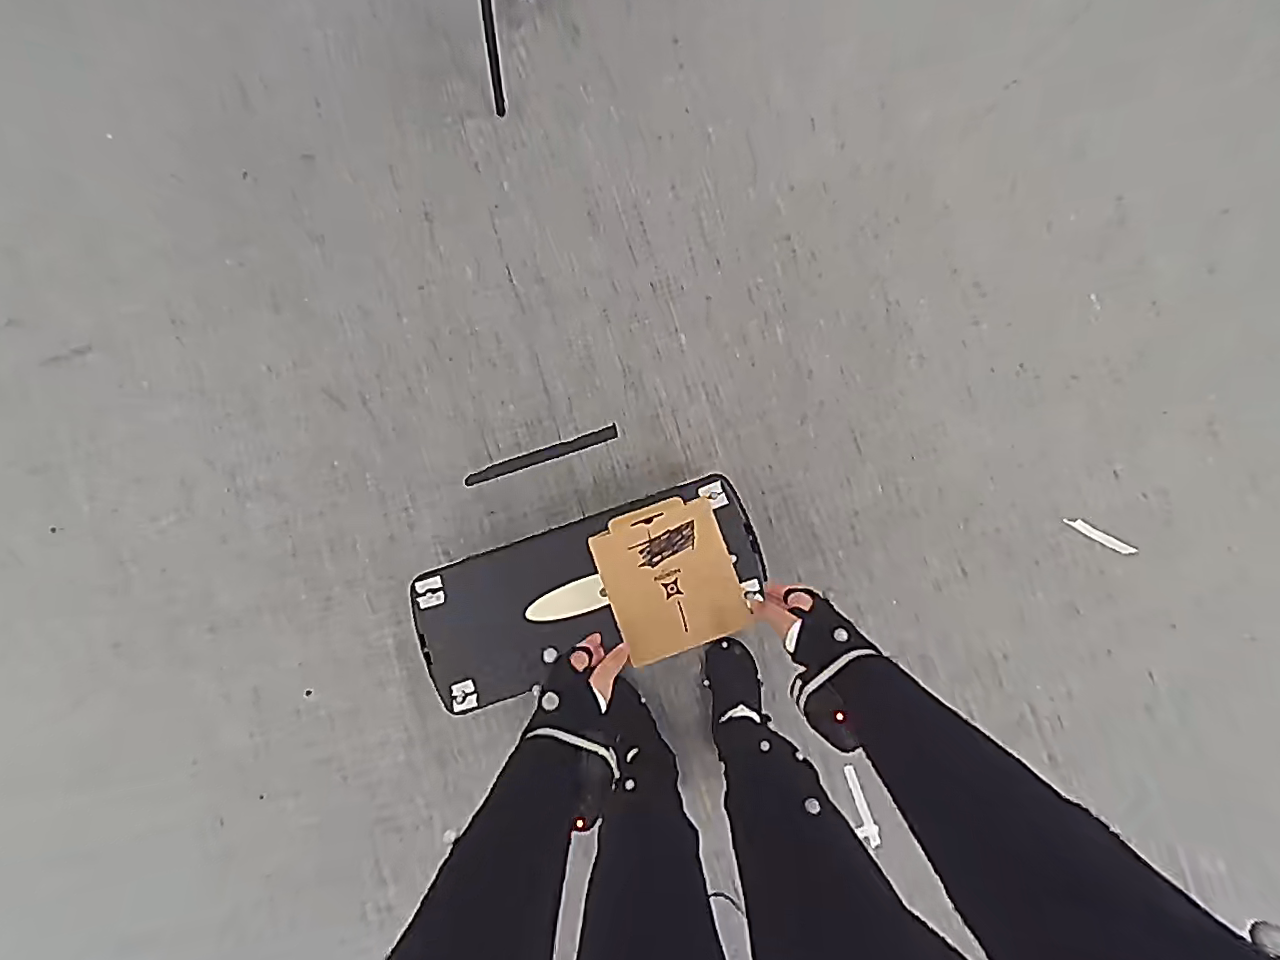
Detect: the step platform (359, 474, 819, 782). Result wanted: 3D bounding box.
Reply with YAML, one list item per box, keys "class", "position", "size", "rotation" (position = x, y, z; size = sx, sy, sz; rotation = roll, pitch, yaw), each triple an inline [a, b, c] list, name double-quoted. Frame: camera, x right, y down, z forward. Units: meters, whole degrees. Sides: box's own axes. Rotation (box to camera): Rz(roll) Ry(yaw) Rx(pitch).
- class: "step platform"
  position: [-0.077, 0.227, 0.898]
  size: [0.684, 0.204, 0.286]
  rotation: [-19, 85, -1]

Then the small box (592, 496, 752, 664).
- class: "small box"
  position: [0.041, 0.134, 0.774]
  size: [0.168, 0.176, 0.179]
  rotation: [-20, 87, 0]
